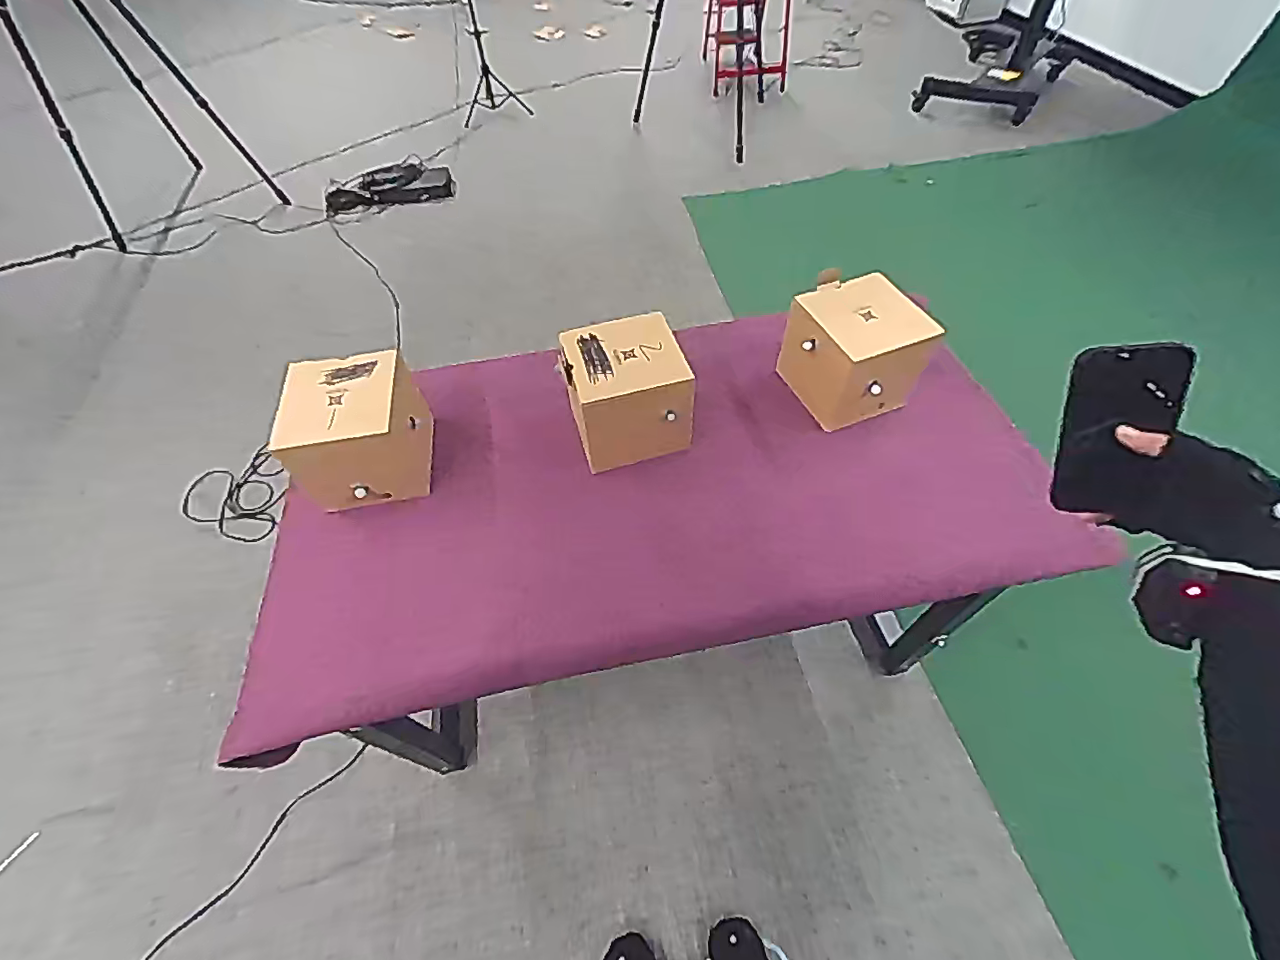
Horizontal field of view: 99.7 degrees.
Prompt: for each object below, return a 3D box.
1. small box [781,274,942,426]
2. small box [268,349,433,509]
[{"bbox_3d":[0.361,-0.212,0.920,0.168,0.176,0.179,-19,55,-10],"label":"small box"},{"bbox_3d":[-0.439,-0.077,0.855,0.168,0.176,0.179,-9,56,-4],"label":"small box"}]
